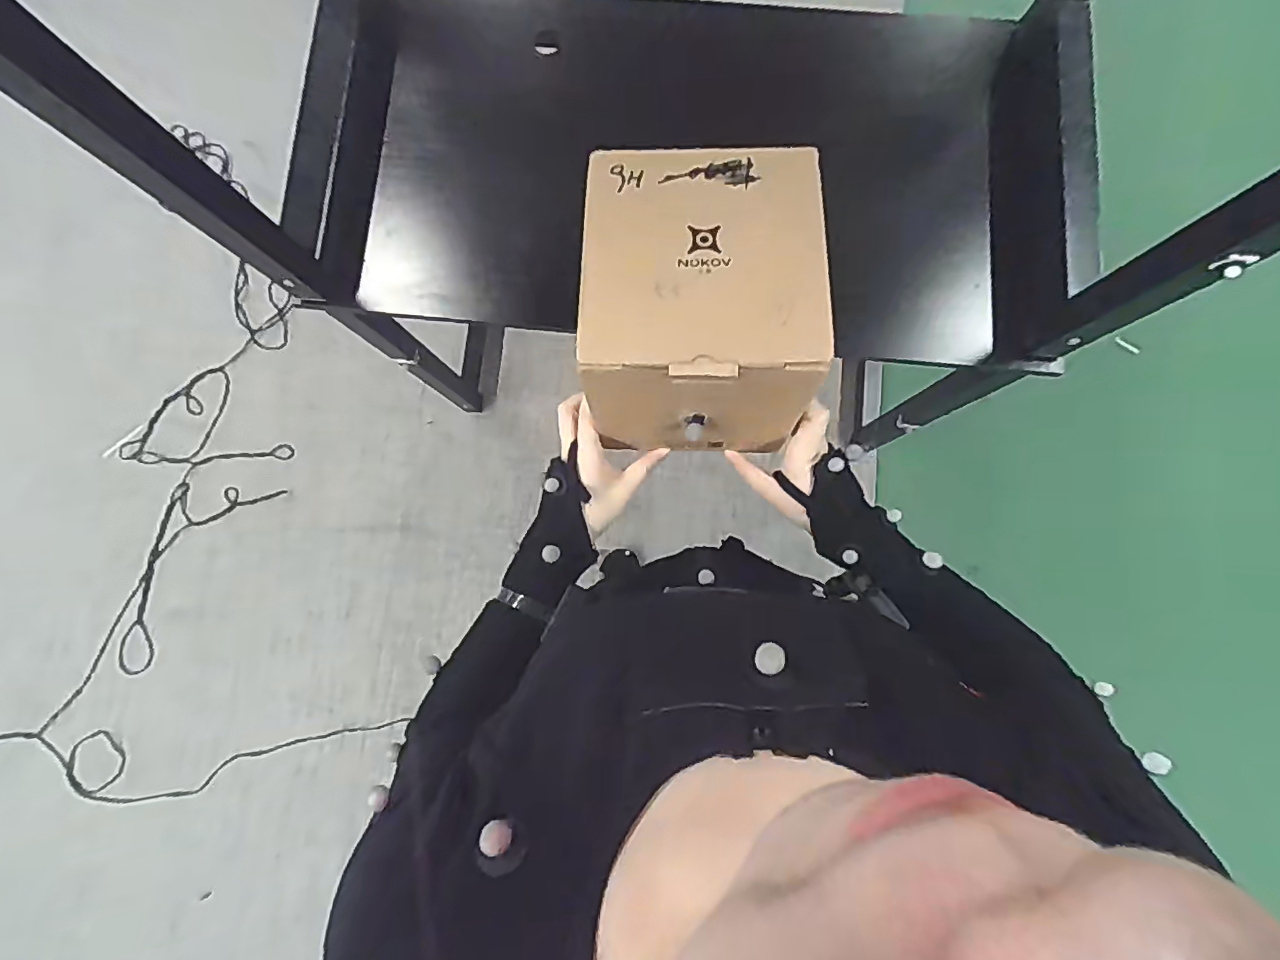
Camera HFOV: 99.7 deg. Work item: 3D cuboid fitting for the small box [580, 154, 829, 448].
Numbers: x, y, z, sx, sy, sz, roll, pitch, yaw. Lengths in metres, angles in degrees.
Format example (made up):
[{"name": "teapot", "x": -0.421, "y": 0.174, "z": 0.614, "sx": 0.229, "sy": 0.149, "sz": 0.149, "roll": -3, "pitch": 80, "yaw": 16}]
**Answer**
[{"name": "small box", "x": 0.048, "y": -0.131, "z": 0.448, "sx": 0.168, "sy": 0.176, "sz": 0.179, "roll": 1, "pitch": 75, "yaw": 3}]
